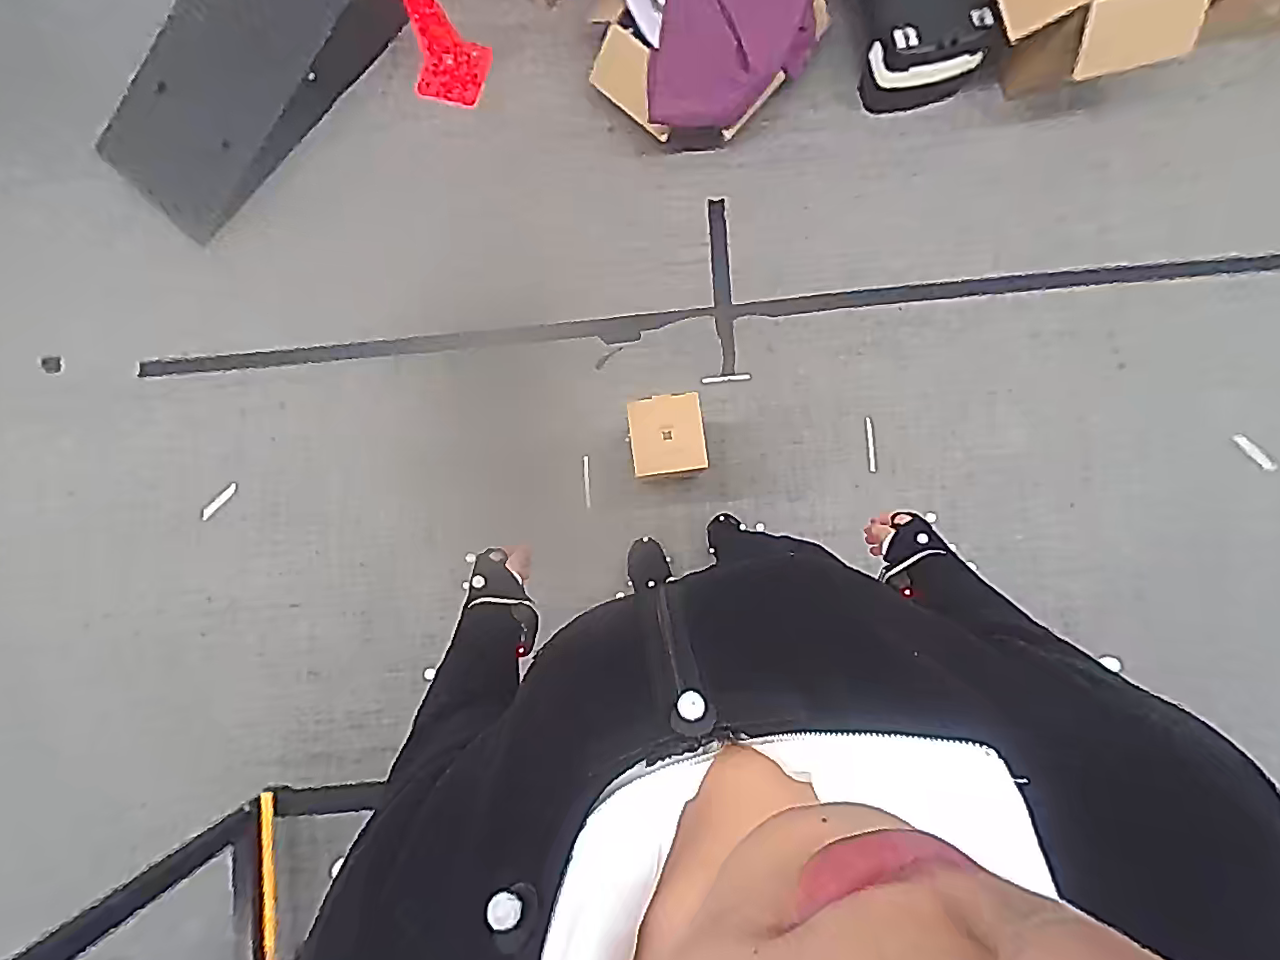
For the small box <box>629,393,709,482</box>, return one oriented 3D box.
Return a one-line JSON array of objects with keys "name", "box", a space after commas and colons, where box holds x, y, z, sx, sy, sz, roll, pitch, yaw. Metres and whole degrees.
[{"name": "small box", "box": [0.068, -0.095, 1.290, 0.168, 0.176, 0.179, -8, 87, 4]}]
